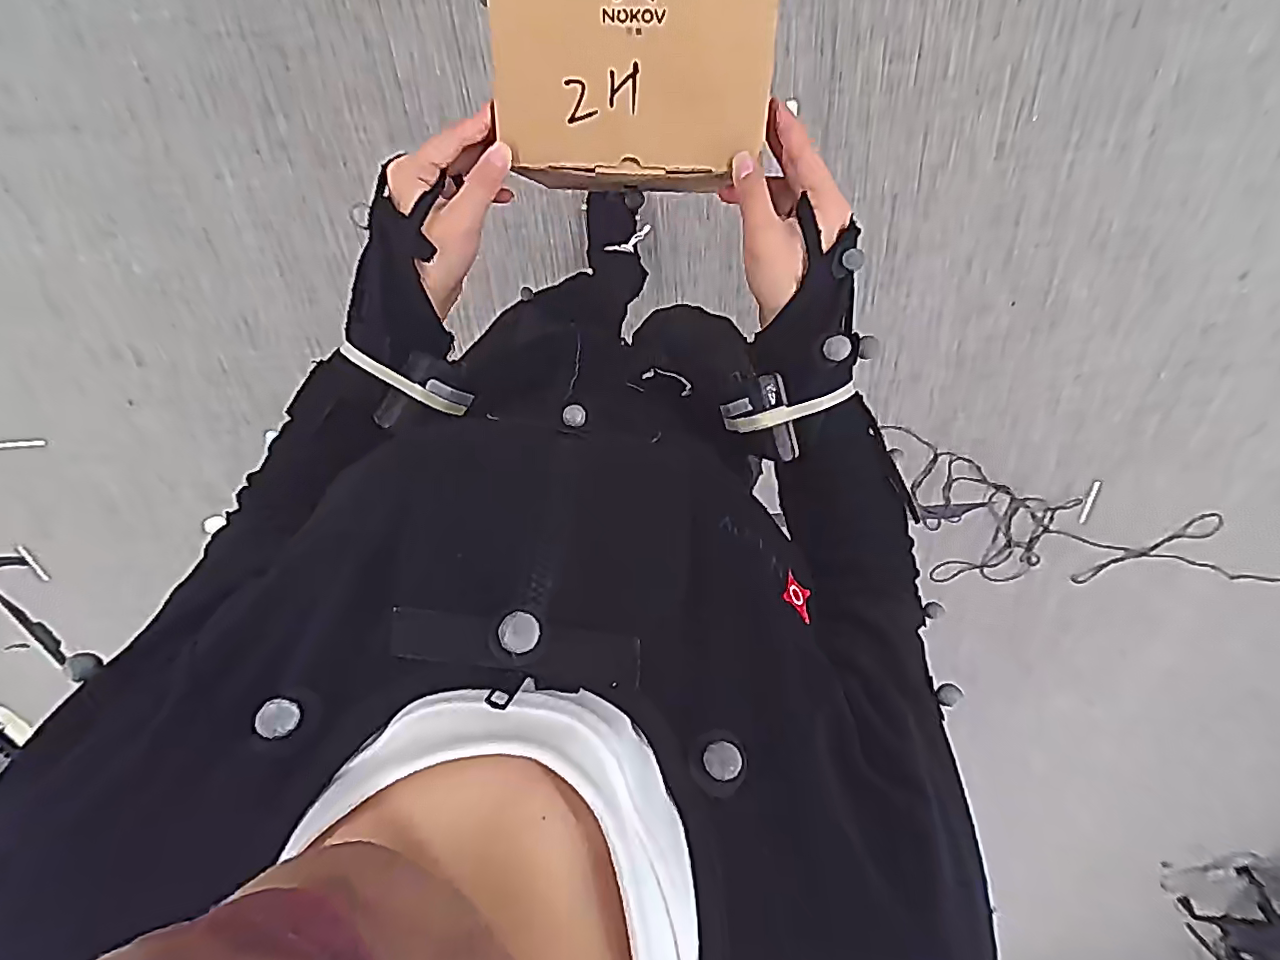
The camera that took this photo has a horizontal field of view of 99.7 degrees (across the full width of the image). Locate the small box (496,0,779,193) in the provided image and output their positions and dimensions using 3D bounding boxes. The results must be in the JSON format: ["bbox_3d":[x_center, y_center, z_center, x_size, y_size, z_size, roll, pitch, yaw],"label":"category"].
[{"bbox_3d":[0.000,-0.310,0.381,0.168,0.176,0.179,2,115,1],"label":"small box"}]
